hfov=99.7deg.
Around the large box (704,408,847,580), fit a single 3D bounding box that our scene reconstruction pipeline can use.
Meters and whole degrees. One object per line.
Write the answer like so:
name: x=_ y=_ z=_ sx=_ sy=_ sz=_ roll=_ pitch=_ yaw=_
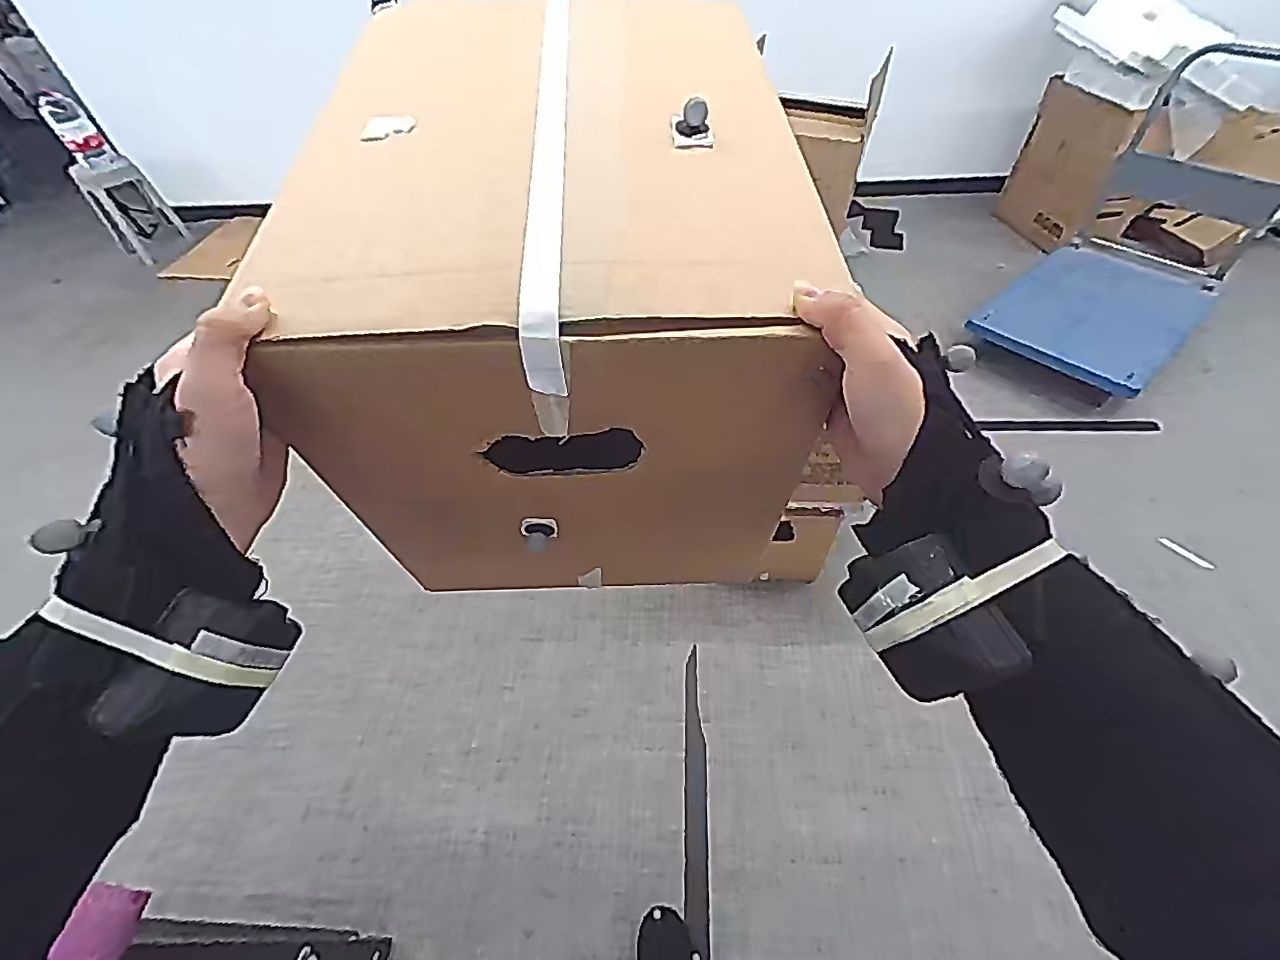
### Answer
large box: x=0.361 y=0.039 z=1.566 sx=0.320 sy=0.320 sz=0.408 roll=-1 pitch=50 yaw=3
